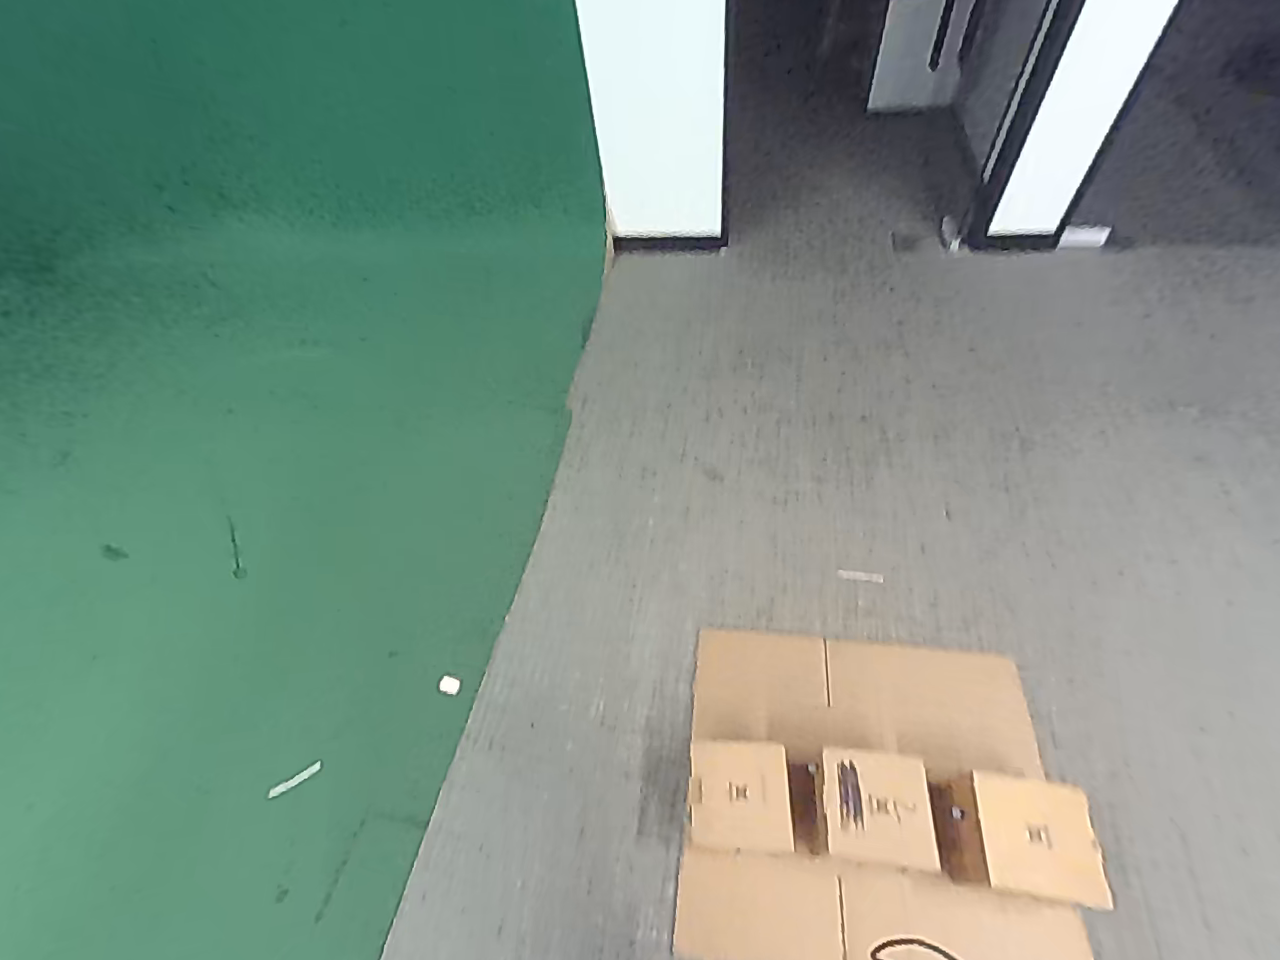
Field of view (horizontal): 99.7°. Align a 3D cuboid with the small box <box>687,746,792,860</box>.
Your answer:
[{"bbox_3d":[0.179,0.608,1.015,0.179,0.176,0.168,0,55,6],"label":"small box"}]

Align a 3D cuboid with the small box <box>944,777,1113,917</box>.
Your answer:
[{"bbox_3d":[0.648,0.633,0.934,0.179,0.176,0.168,5,54,10],"label":"small box"}]
